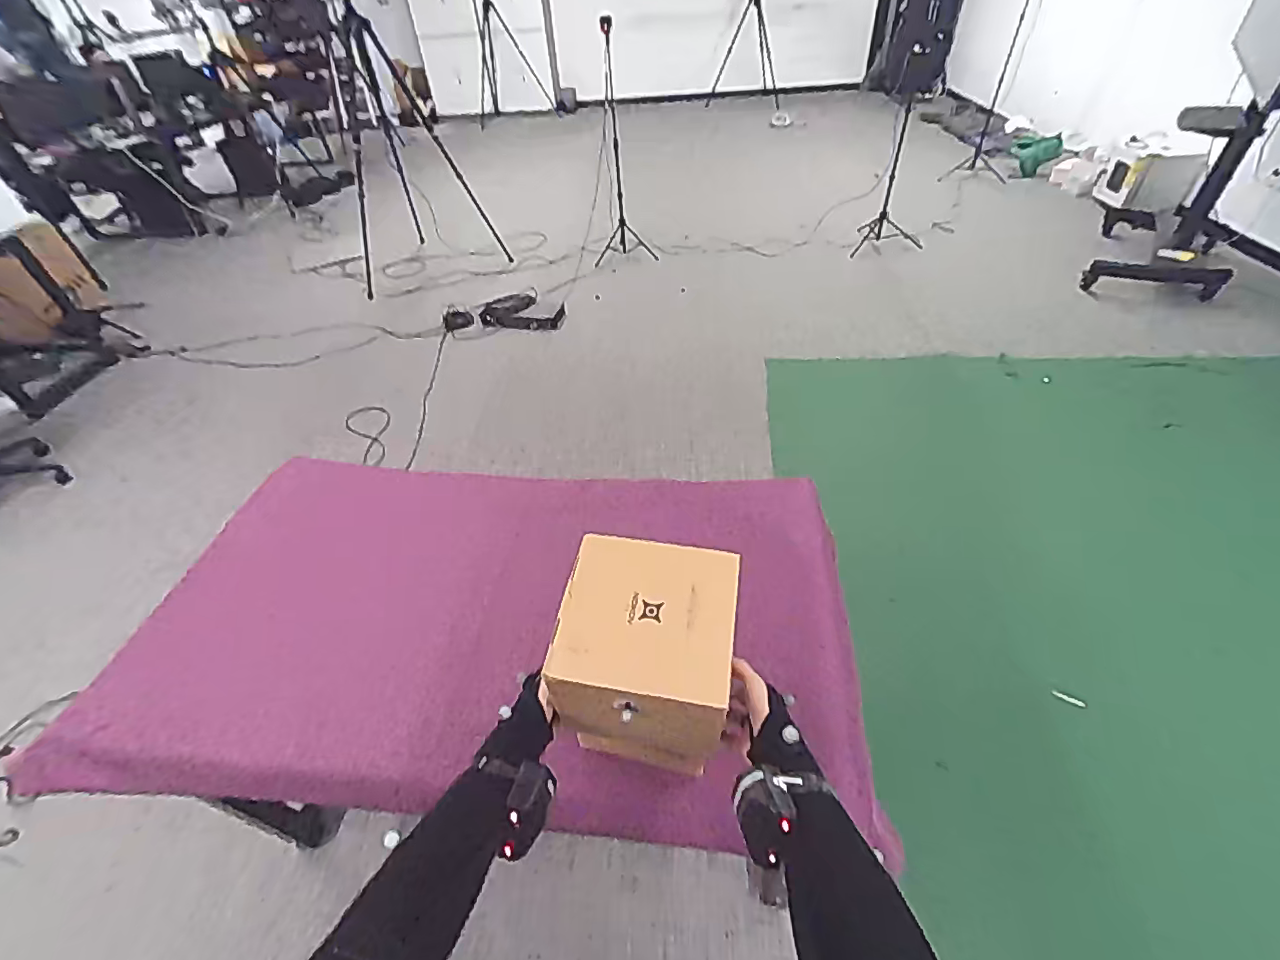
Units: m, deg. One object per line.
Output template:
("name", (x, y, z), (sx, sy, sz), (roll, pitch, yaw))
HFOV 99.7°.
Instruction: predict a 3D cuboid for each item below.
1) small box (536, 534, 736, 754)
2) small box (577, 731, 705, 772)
("small box", (0.007, 0.182, 0.598), (0.179, 0.176, 0.168), (7, 48, 9))
("small box", (0.016, 0.274, 0.737), (0.179, 0.176, 0.168), (9, 47, 12))
